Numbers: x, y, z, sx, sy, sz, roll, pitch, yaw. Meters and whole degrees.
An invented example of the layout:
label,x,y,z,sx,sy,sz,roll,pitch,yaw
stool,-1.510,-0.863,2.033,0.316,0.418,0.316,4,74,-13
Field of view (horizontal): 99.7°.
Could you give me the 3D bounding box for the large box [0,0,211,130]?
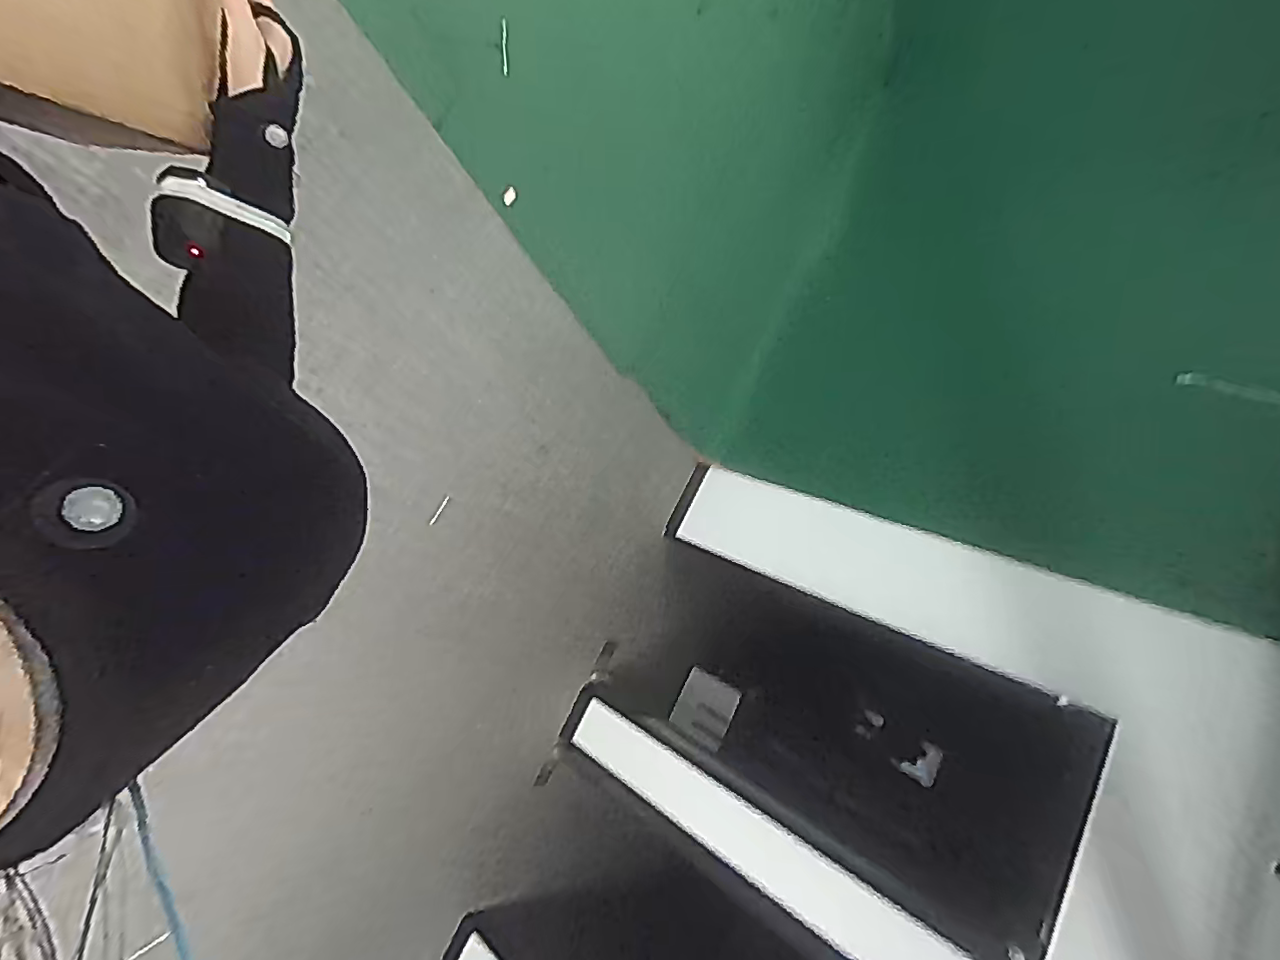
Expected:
label,x,y,z,sx,sy,sz,roll,pitch,yaw
large box,-0.546,-0.452,0.310,0.408,0.320,0.320,-12,119,-56
